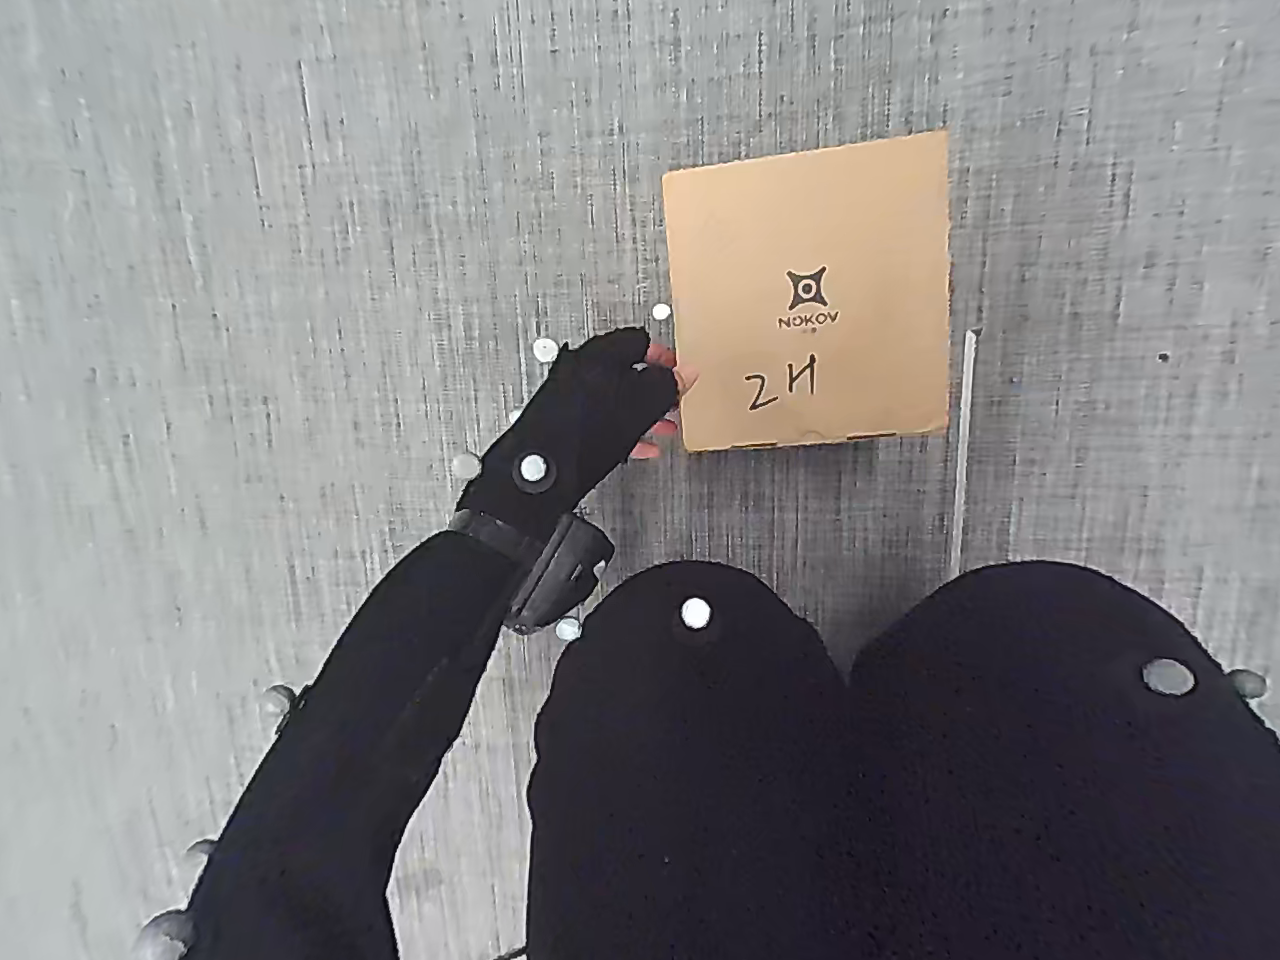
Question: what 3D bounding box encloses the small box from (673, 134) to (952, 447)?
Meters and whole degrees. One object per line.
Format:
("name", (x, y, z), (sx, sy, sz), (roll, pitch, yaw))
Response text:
("small box", (0.114, -0.123, 0.412), (0.168, 0.176, 0.179), (-4, 99, 8))
